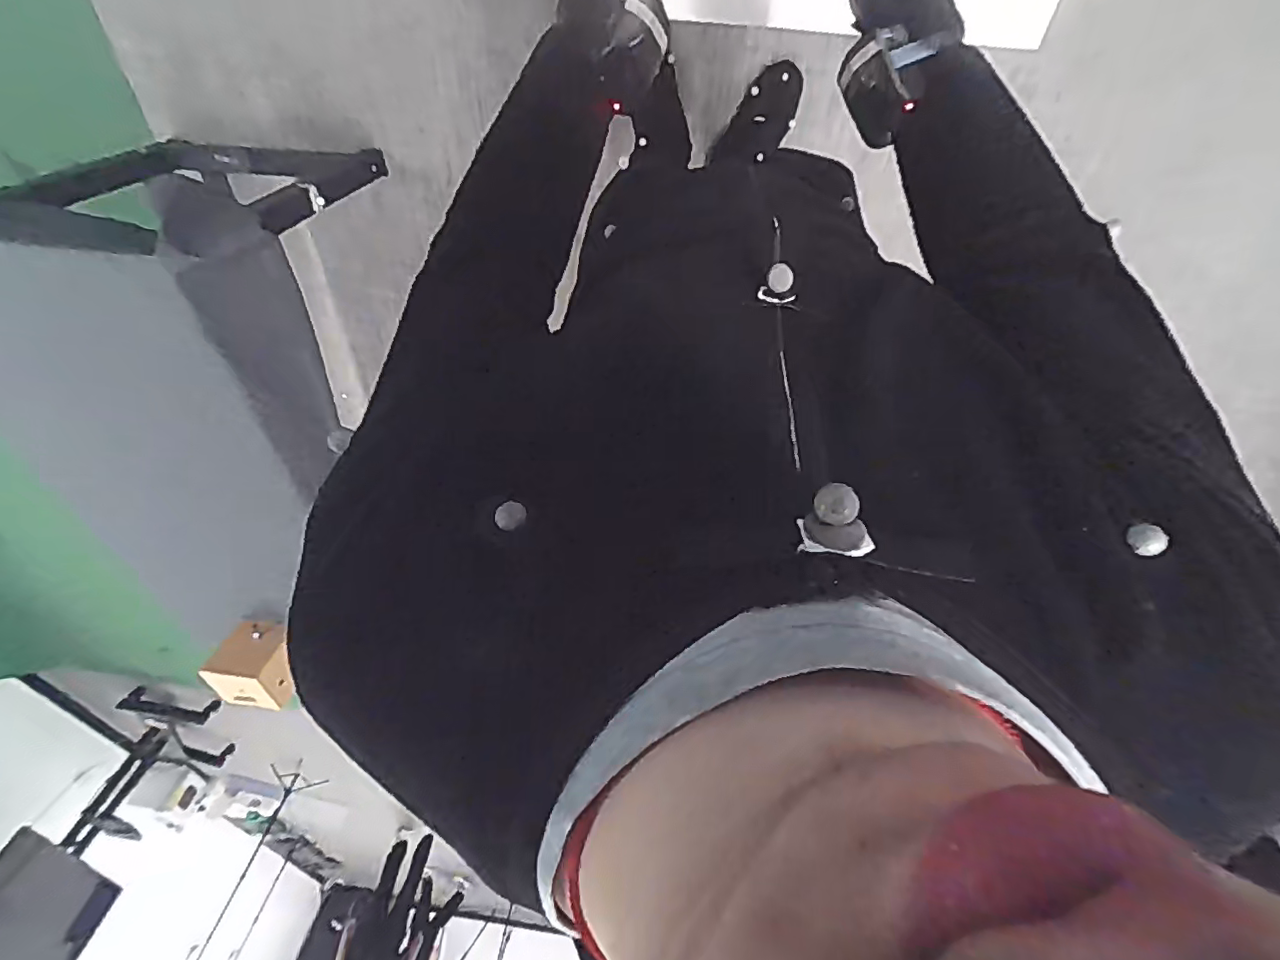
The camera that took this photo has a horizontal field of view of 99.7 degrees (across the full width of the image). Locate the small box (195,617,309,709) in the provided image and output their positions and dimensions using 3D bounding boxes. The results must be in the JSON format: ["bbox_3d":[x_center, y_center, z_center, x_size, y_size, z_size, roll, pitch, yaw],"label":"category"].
[{"bbox_3d":[-1.063,0.508,1.503,0.168,0.176,0.179,6,132,3],"label":"small box"}]
